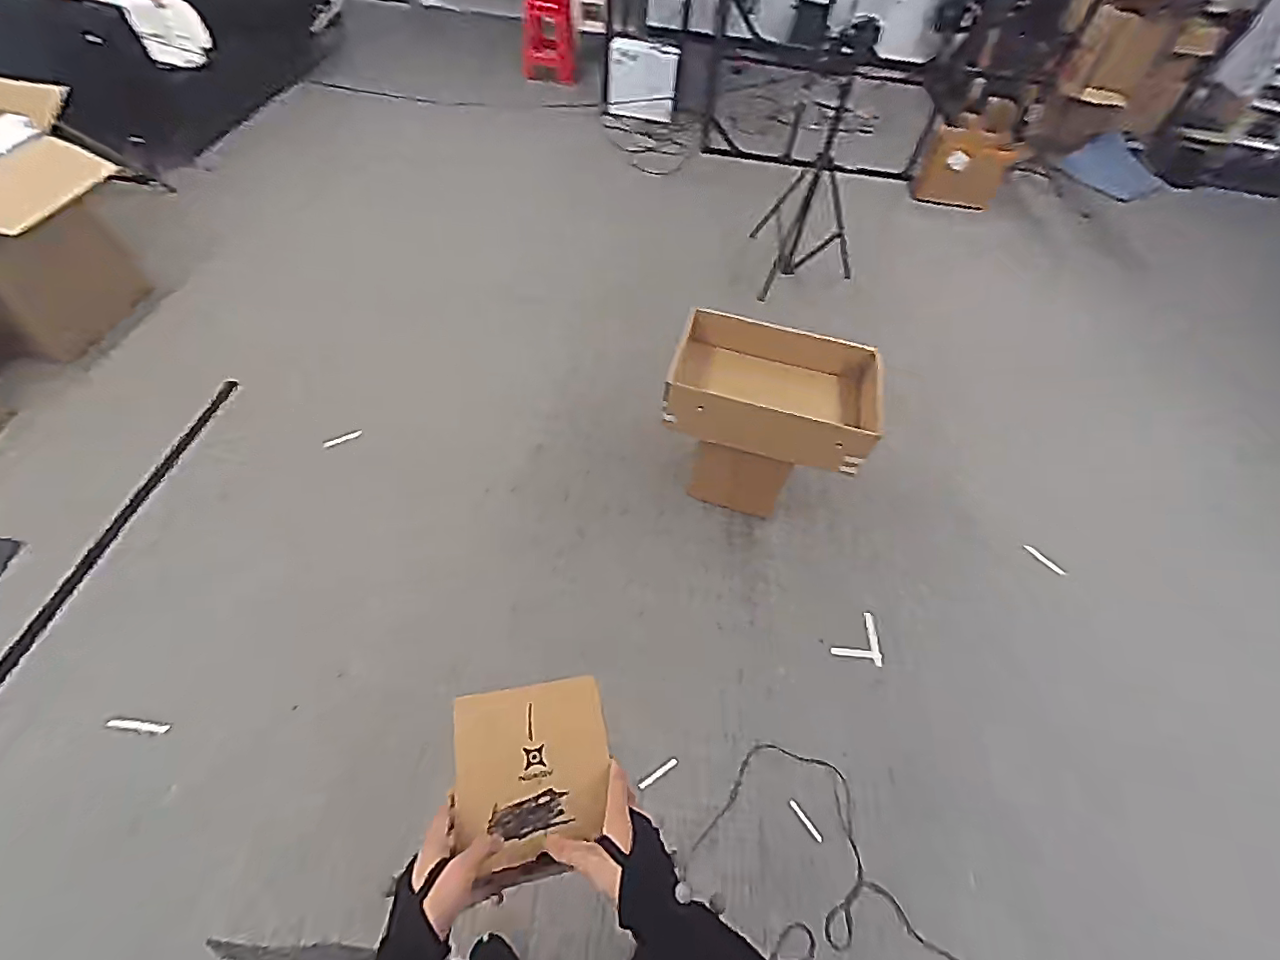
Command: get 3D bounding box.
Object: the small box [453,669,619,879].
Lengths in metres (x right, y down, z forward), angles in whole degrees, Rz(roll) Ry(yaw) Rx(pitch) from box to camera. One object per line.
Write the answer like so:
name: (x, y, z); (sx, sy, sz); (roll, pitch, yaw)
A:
small box: (-0.126, 0.350, 0.640); (0.168, 0.176, 0.179); (-4, 50, -15)
